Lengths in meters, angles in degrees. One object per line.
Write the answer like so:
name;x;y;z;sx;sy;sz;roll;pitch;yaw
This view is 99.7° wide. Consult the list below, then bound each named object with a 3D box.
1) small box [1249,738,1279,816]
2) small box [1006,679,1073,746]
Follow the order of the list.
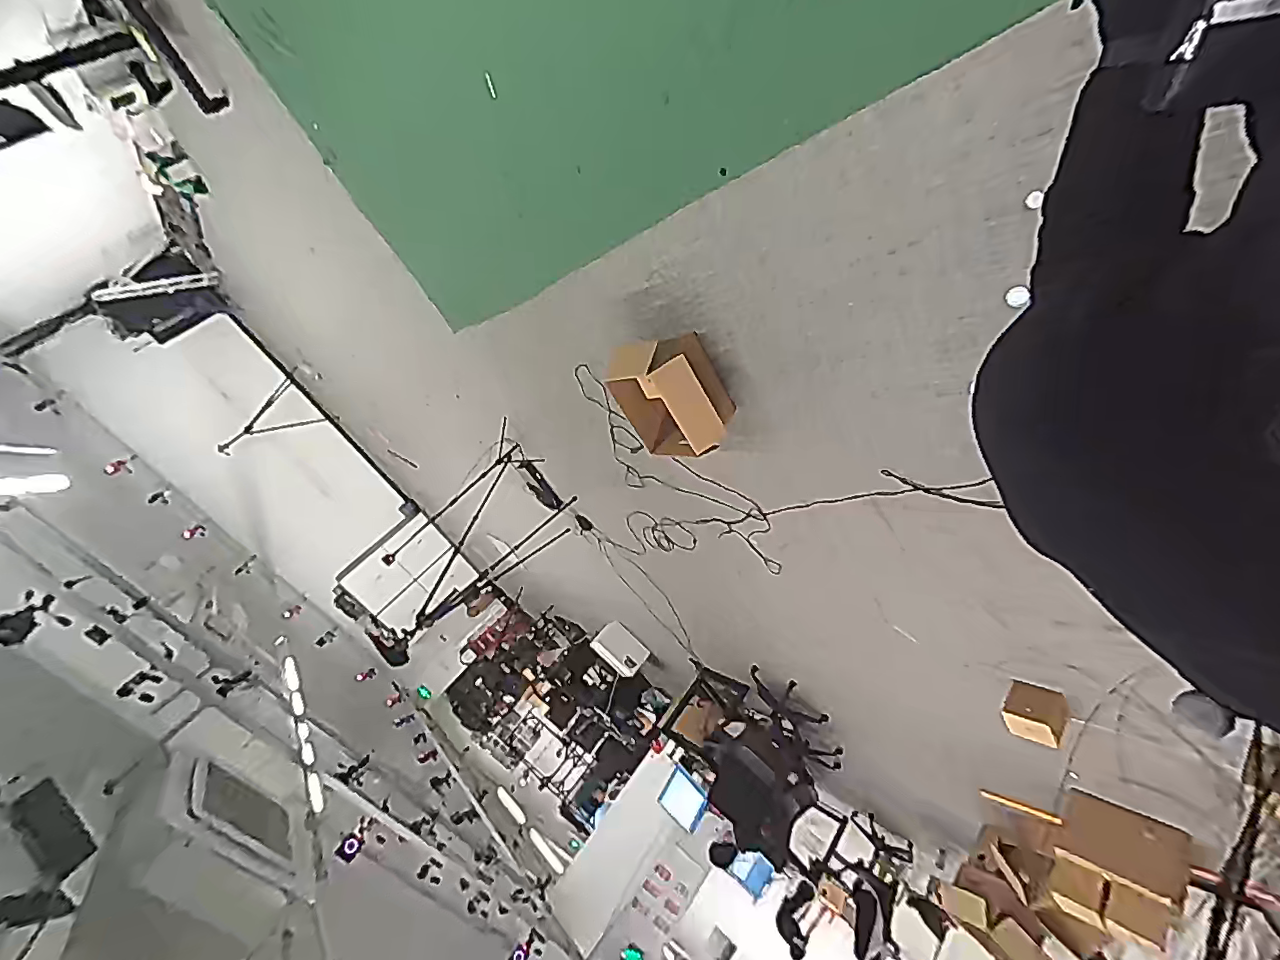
small box;2.083;0.967;1.724;0.168;0.176;0.179;0;132;55
small box;1.694;0.976;2.288;0.179;0.176;0.168;0;131;54
